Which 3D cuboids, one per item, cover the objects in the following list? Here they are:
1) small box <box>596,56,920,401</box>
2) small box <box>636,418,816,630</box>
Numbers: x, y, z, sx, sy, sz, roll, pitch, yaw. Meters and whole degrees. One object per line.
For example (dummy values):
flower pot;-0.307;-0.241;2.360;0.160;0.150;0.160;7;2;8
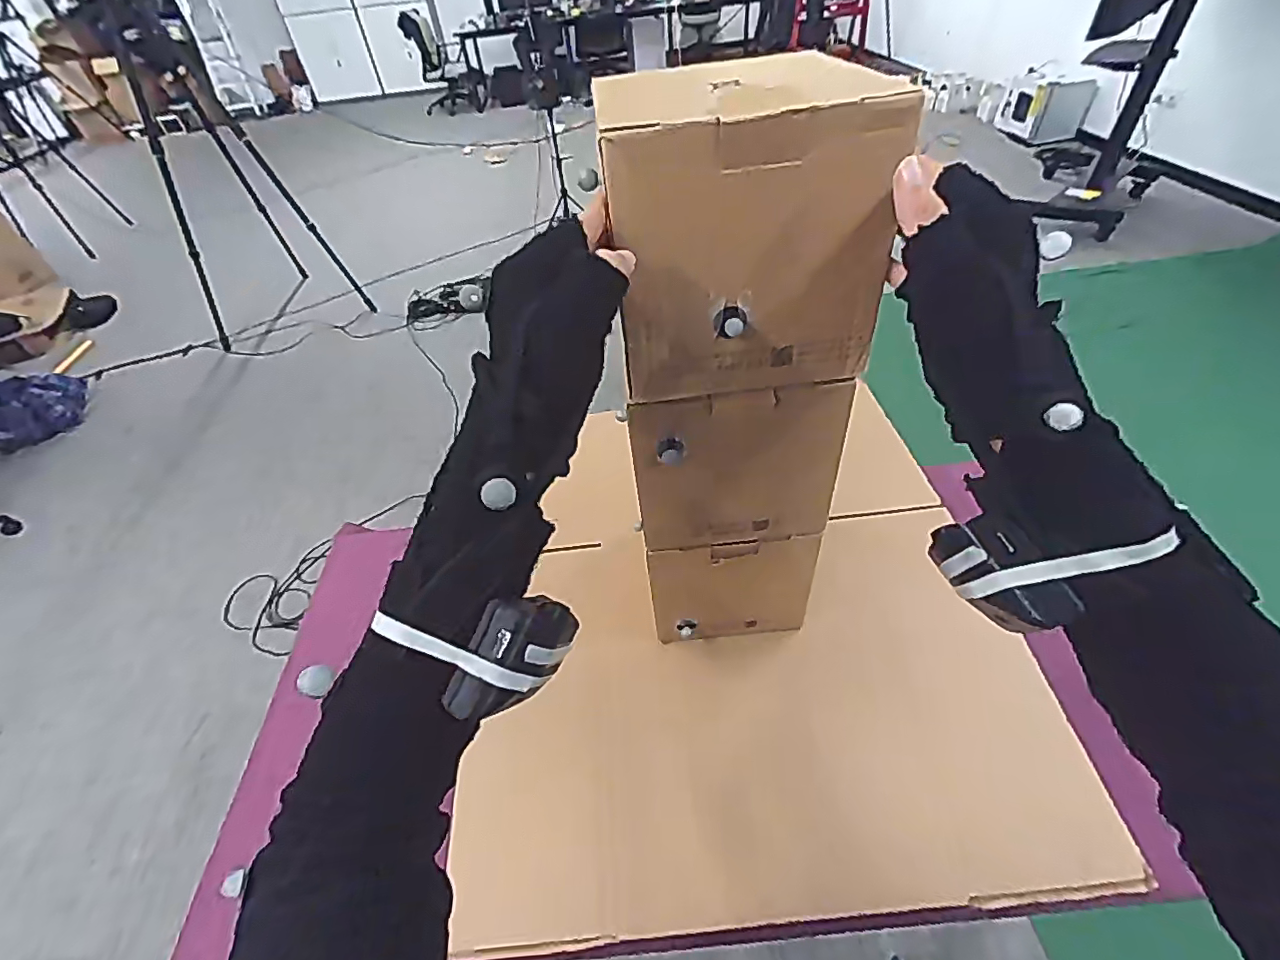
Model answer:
small box;0.060;-0.179;0.386;0.168;0.176;0.179;-7;45;0
small box;0.088;0.055;0.614;0.168;0.176;0.179;-6;44;1
